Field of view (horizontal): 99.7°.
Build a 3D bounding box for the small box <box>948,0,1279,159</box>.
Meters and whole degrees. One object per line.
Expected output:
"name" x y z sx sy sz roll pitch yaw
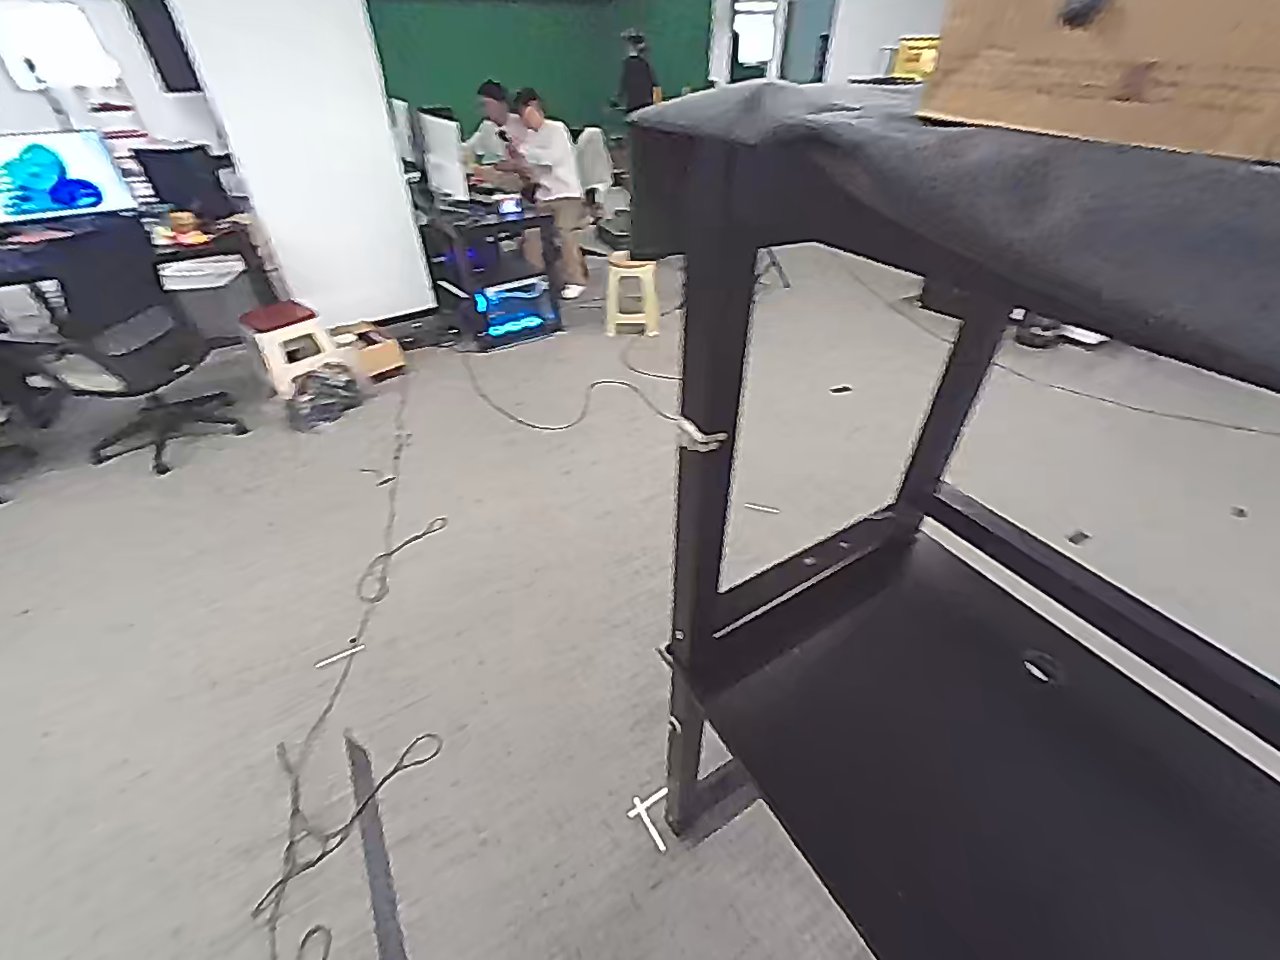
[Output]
"small box" 0.284 -0.260 0.248 0.179 0.176 0.168 -21 44 -25
